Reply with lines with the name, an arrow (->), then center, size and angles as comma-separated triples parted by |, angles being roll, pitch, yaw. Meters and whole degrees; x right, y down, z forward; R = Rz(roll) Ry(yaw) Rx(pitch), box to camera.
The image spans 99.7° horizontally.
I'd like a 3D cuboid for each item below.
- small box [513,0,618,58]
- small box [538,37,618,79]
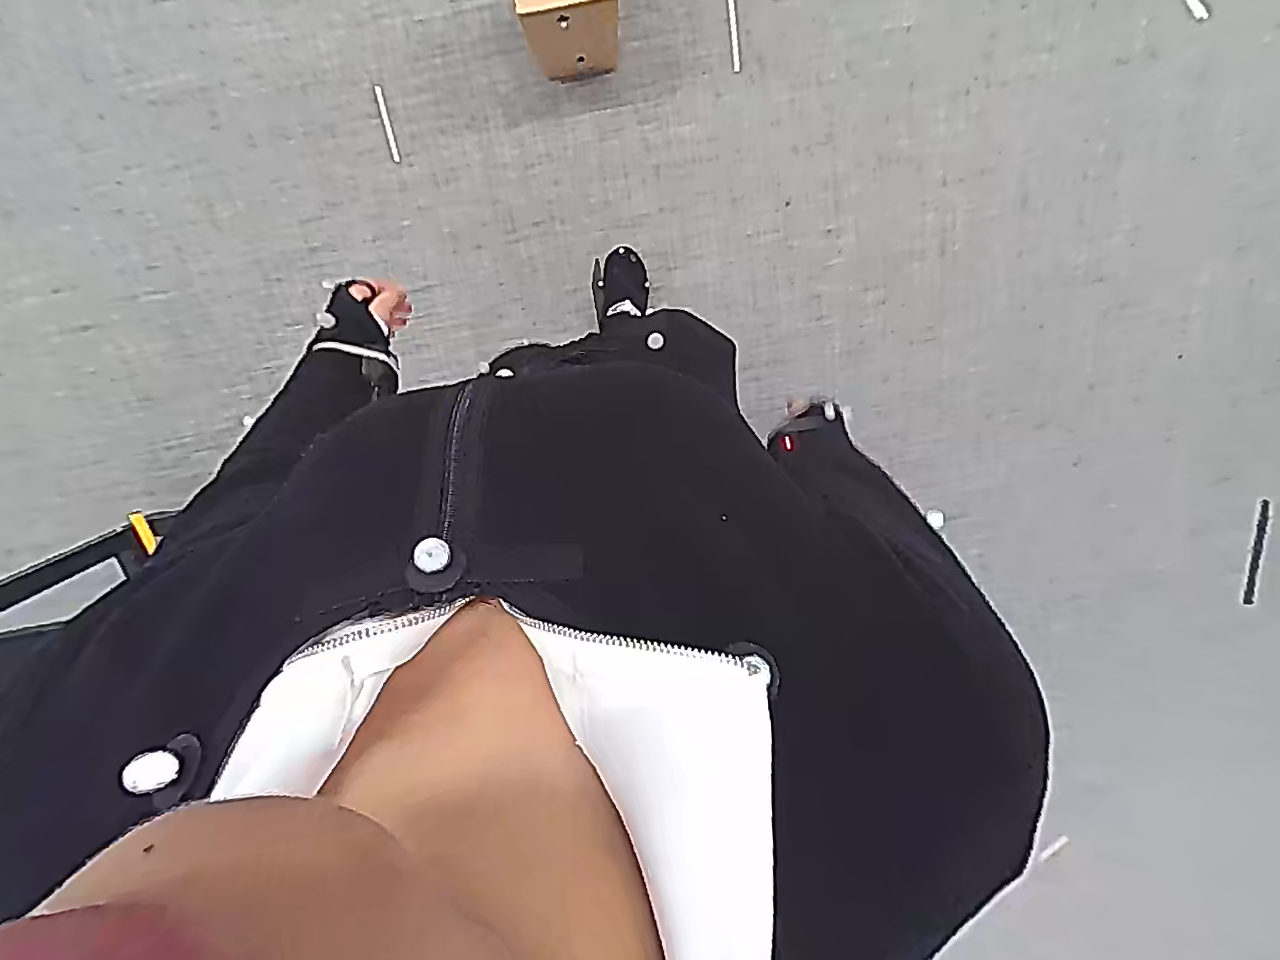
small box -> -0.136, -0.884, 0.954 | 0.179, 0.176, 0.168 | -11, 109, 1
small box -> -0.136, -0.953, 1.106 | 0.168, 0.176, 0.179 | -8, 109, 0
